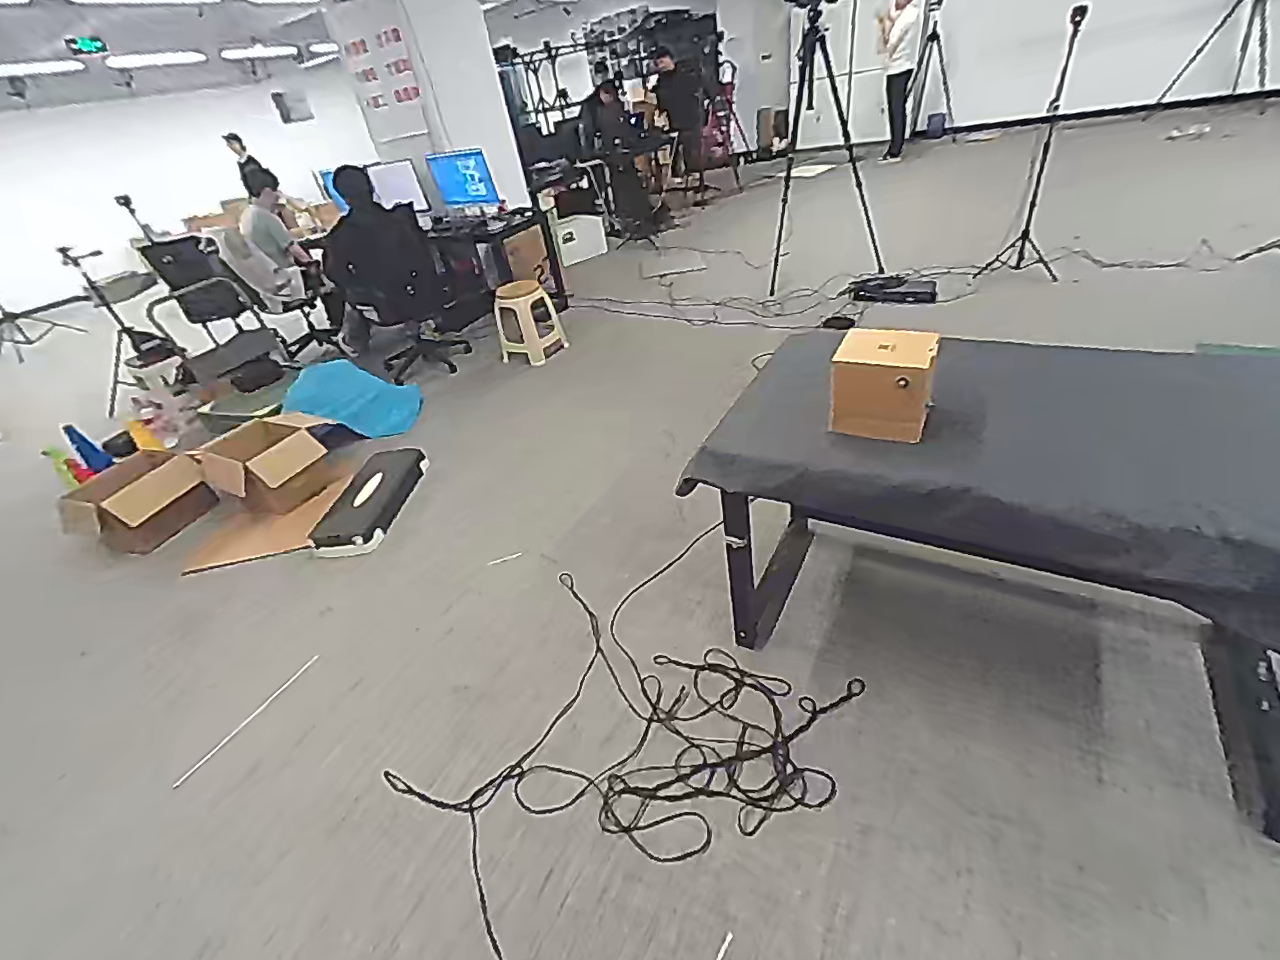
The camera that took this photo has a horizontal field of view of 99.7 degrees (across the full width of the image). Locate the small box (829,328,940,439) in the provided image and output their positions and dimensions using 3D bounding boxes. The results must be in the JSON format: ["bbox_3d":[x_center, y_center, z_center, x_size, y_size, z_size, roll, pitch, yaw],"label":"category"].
[{"bbox_3d":[0.500,-0.200,1.117,0.179,0.176,0.168,12,42,29],"label":"small box"}]
